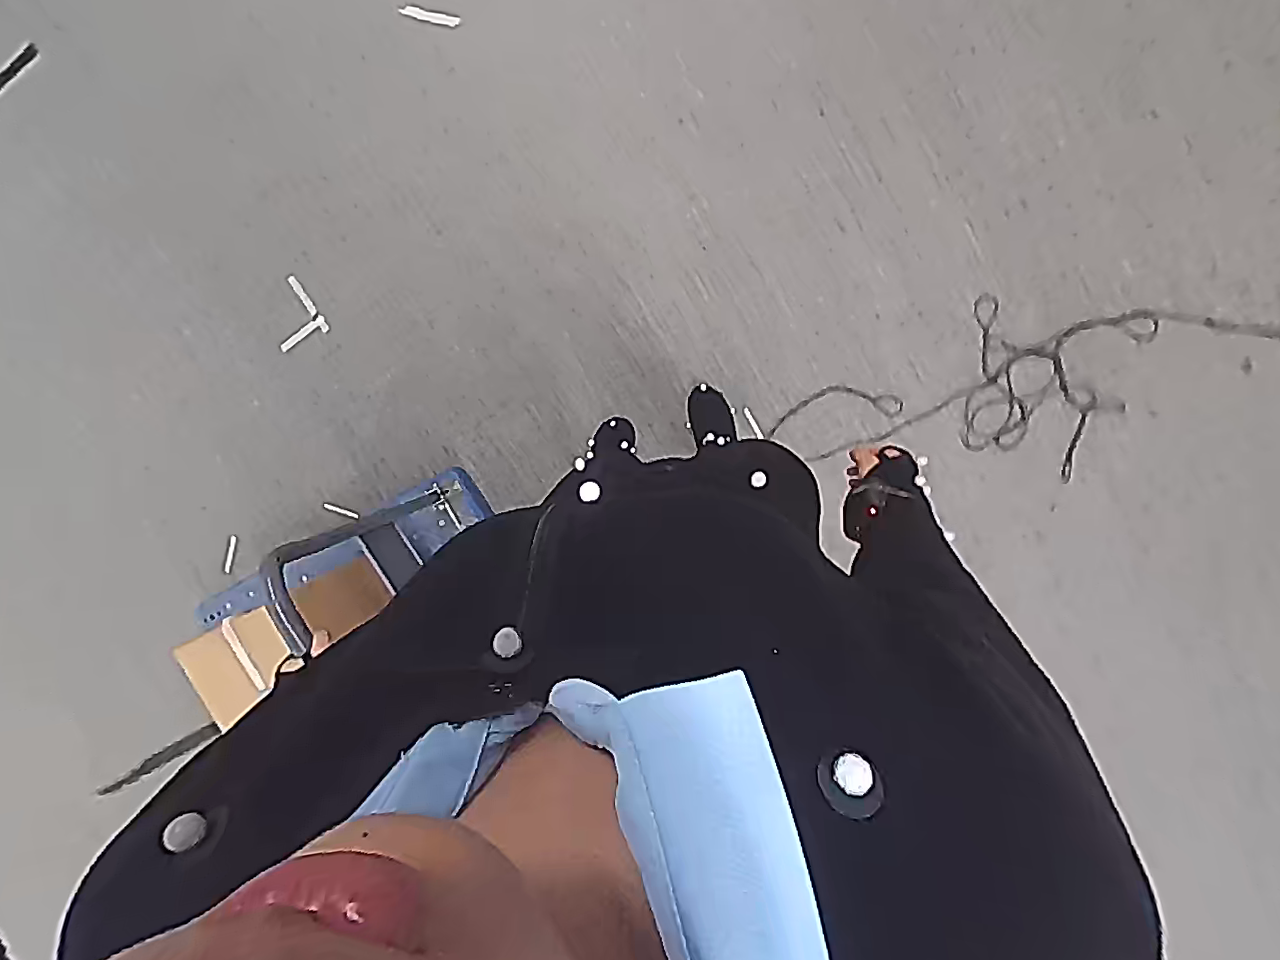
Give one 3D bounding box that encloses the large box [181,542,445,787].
[{"bbox_3d":[-0.750,0.420,1.301,0.320,0.320,0.408,-25,98,9],"label":"large box"}]
